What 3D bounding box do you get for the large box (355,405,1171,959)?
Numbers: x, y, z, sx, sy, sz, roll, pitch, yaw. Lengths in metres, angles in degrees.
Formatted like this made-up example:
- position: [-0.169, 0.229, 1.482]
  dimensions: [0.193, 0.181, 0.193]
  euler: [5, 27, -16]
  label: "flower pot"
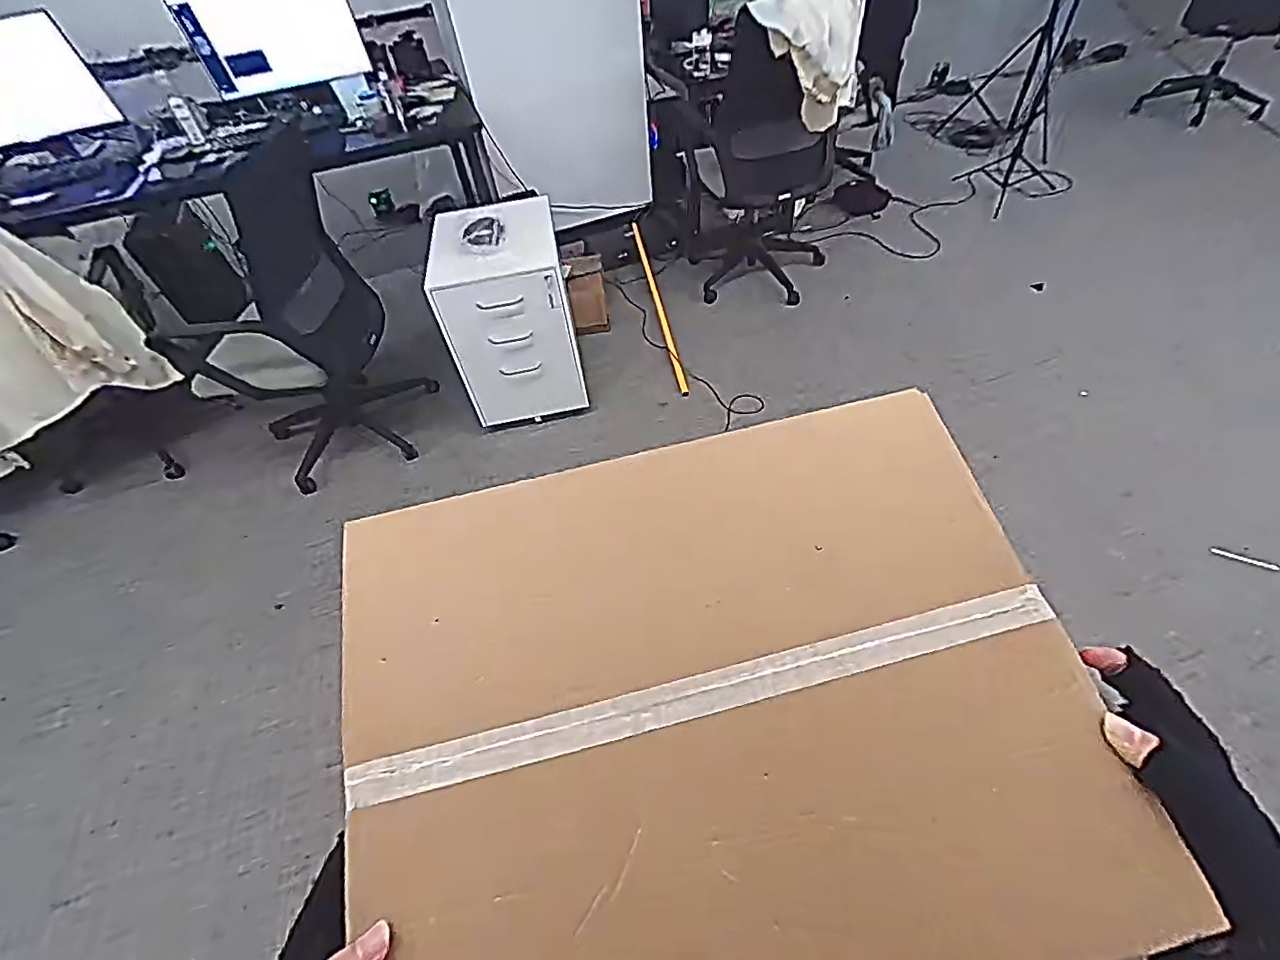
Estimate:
- position: [0.045, 0.188, 0.449]
  dimensions: [0.408, 0.320, 0.320]
  euler: [-14, 65, -3]
  label: "large box"
